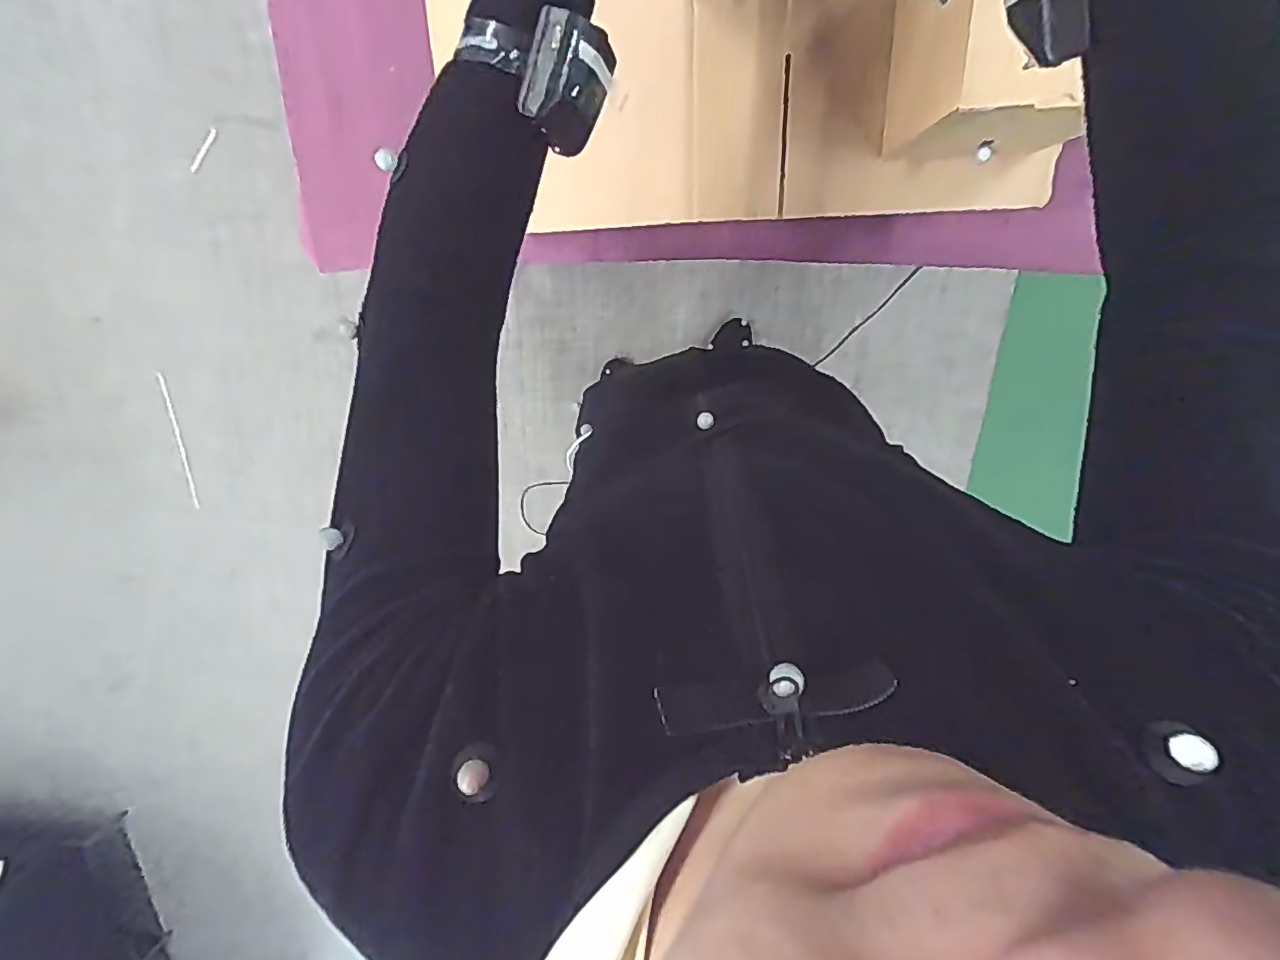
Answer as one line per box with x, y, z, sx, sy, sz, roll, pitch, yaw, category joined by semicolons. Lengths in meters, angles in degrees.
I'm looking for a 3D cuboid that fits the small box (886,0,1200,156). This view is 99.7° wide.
0.333;-0.402;0.469;0.168;0.176;0.179;0;109;4;small box
